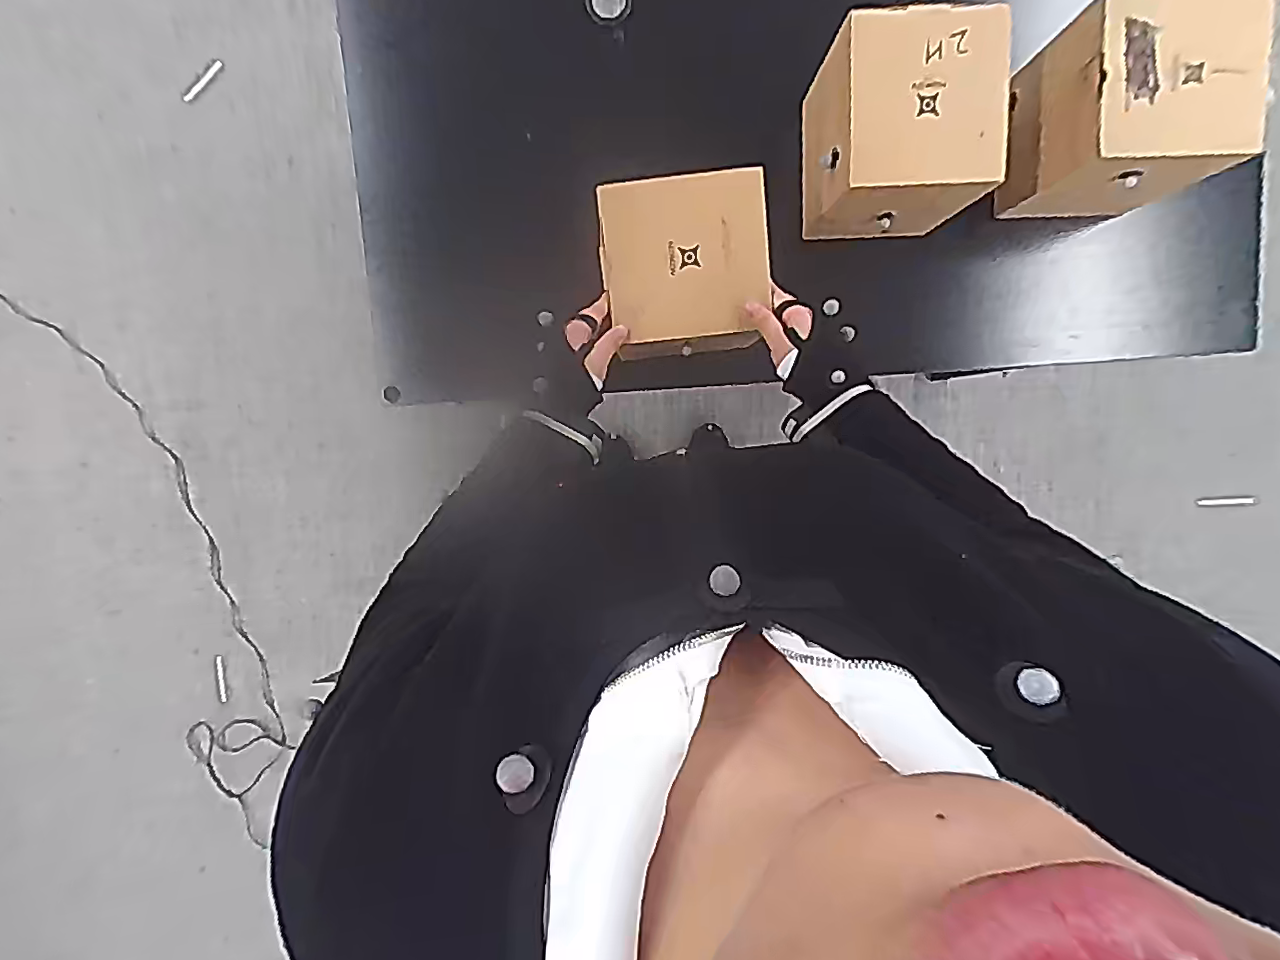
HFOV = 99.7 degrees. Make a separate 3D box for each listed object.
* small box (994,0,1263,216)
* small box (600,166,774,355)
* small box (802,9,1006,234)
[{"bbox_3d":[0.560,-0.432,0.646,0.179,0.176,0.168,-1,96,0],"label":"small box"},{"bbox_3d":[0.054,-0.251,0.659,0.179,0.176,0.168,-7,98,2],"label":"small box"},{"bbox_3d":[0.301,-0.409,0.650,0.168,0.176,0.179,-2,96,0],"label":"small box"}]
